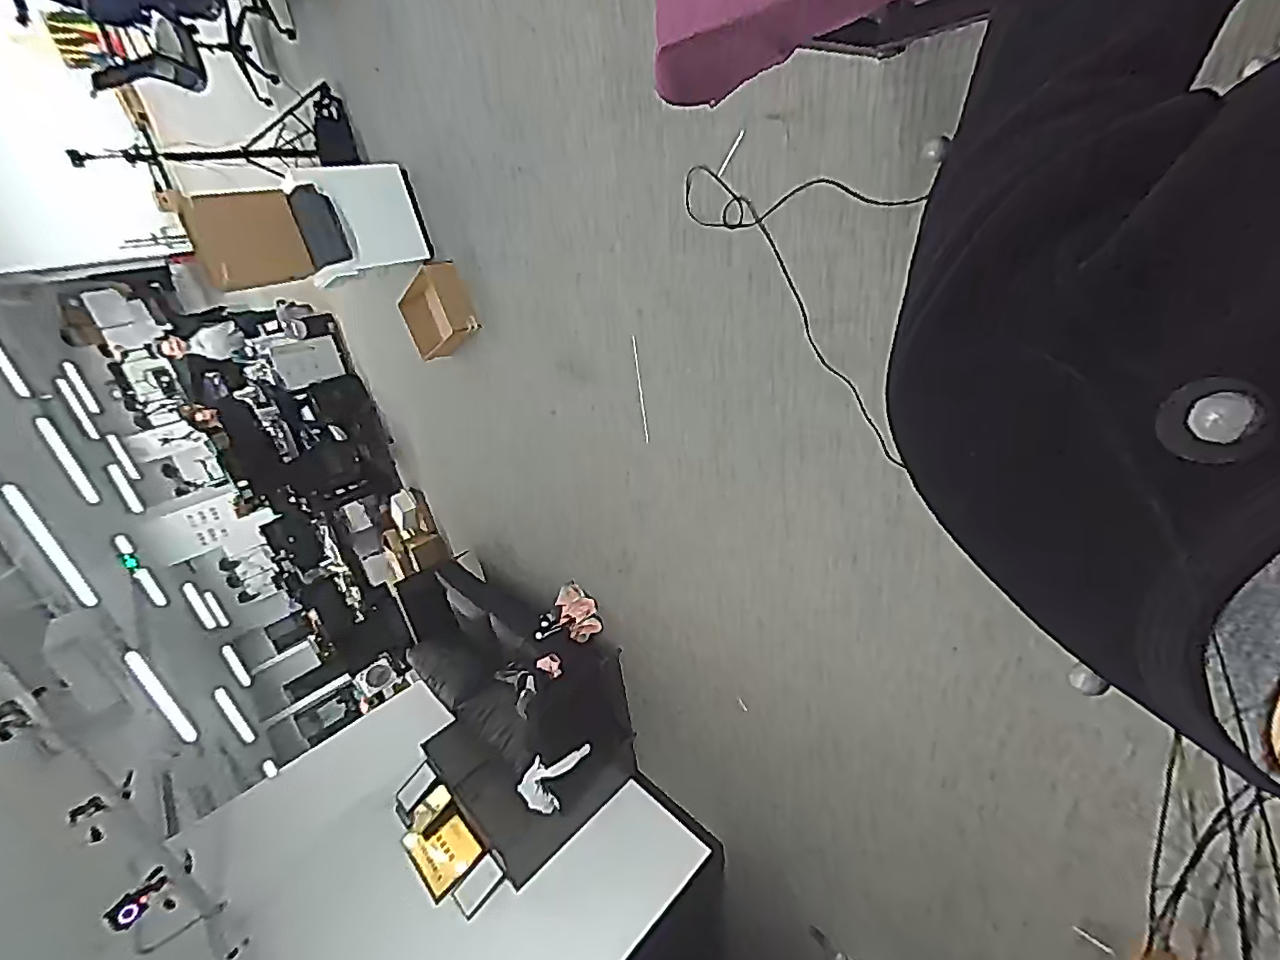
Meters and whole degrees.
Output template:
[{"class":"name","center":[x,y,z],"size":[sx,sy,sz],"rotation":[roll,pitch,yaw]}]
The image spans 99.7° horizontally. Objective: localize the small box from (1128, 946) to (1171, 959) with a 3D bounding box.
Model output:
[{"class":"small box","center":[1.513,1.506,1.559],"size":[0.179,0.176,0.168],"rotation":[18,125,43]}]
